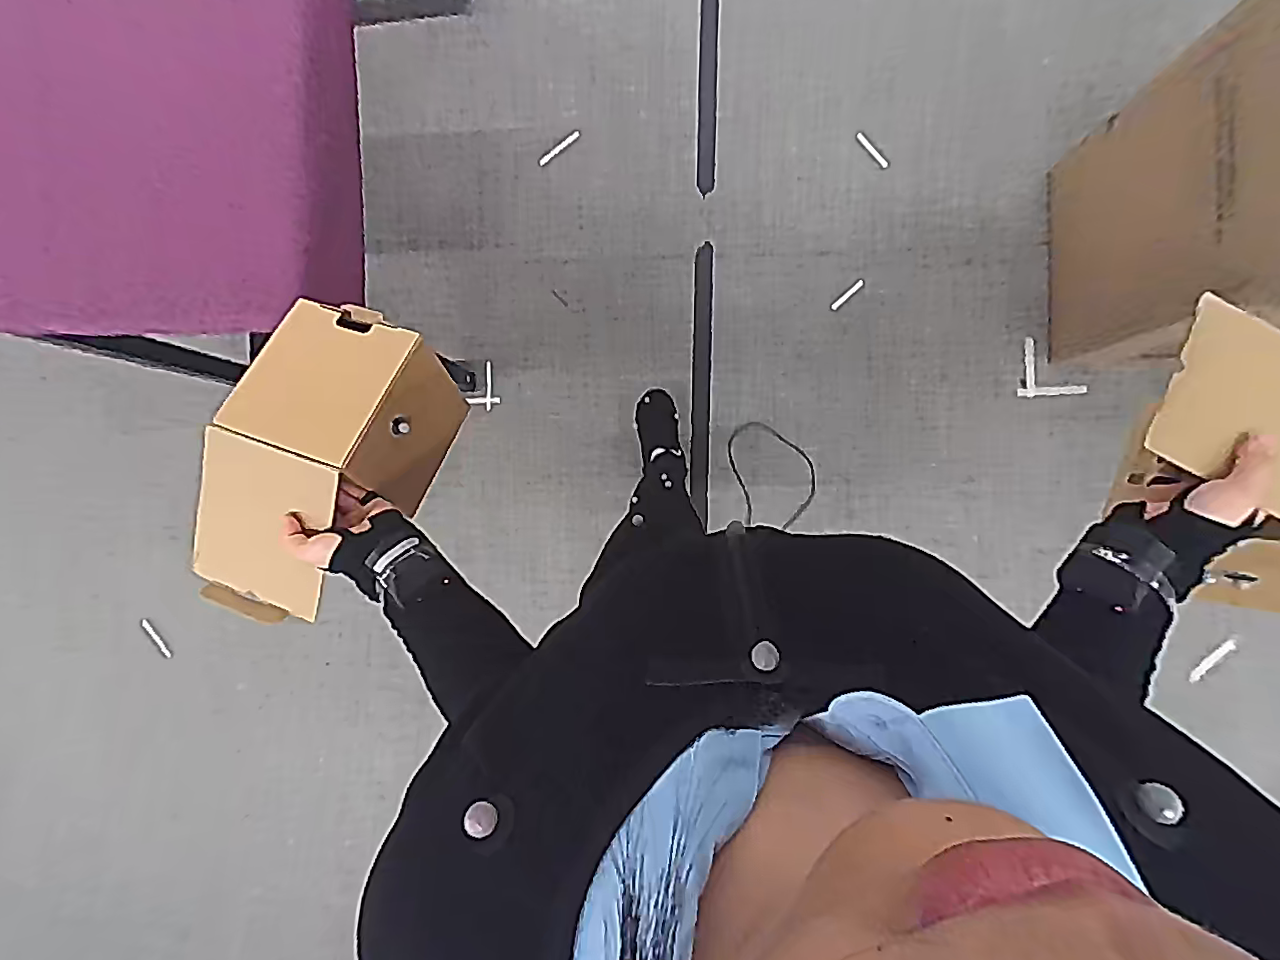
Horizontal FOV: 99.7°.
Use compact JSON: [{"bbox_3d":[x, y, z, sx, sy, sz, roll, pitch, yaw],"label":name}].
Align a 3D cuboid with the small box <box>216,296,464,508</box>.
[{"bbox_3d":[-0.342,-0.085,0.660,0.168,0.176,0.179,18,70,10],"label":"small box"}]
